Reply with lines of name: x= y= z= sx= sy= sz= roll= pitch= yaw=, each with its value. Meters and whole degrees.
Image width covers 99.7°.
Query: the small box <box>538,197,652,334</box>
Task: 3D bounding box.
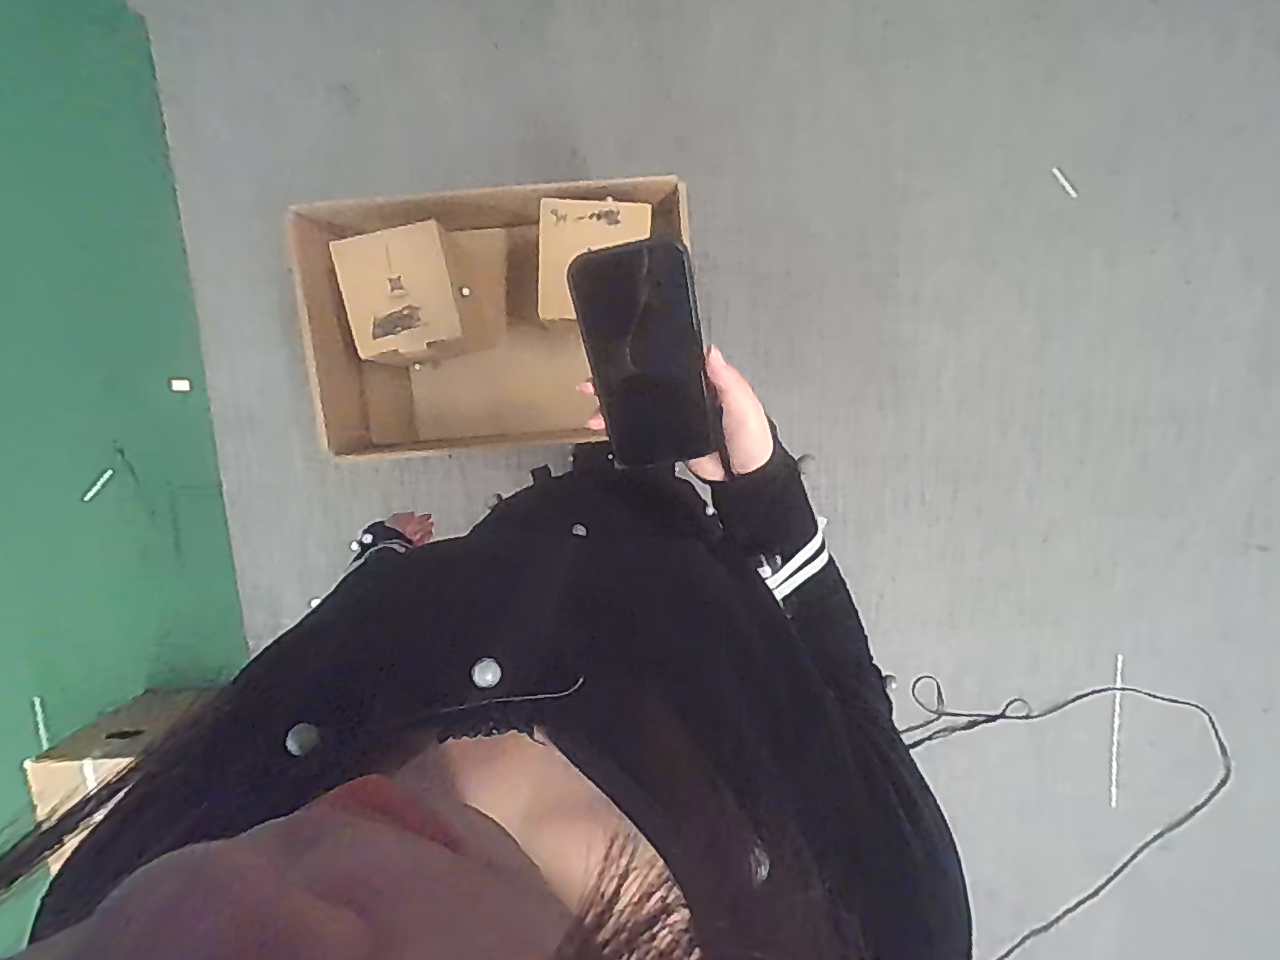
small box: x=-0.068 y=-0.338 z=0.885 sx=0.168 sy=0.176 sz=0.179 roll=3 pitch=99 yaw=-1
